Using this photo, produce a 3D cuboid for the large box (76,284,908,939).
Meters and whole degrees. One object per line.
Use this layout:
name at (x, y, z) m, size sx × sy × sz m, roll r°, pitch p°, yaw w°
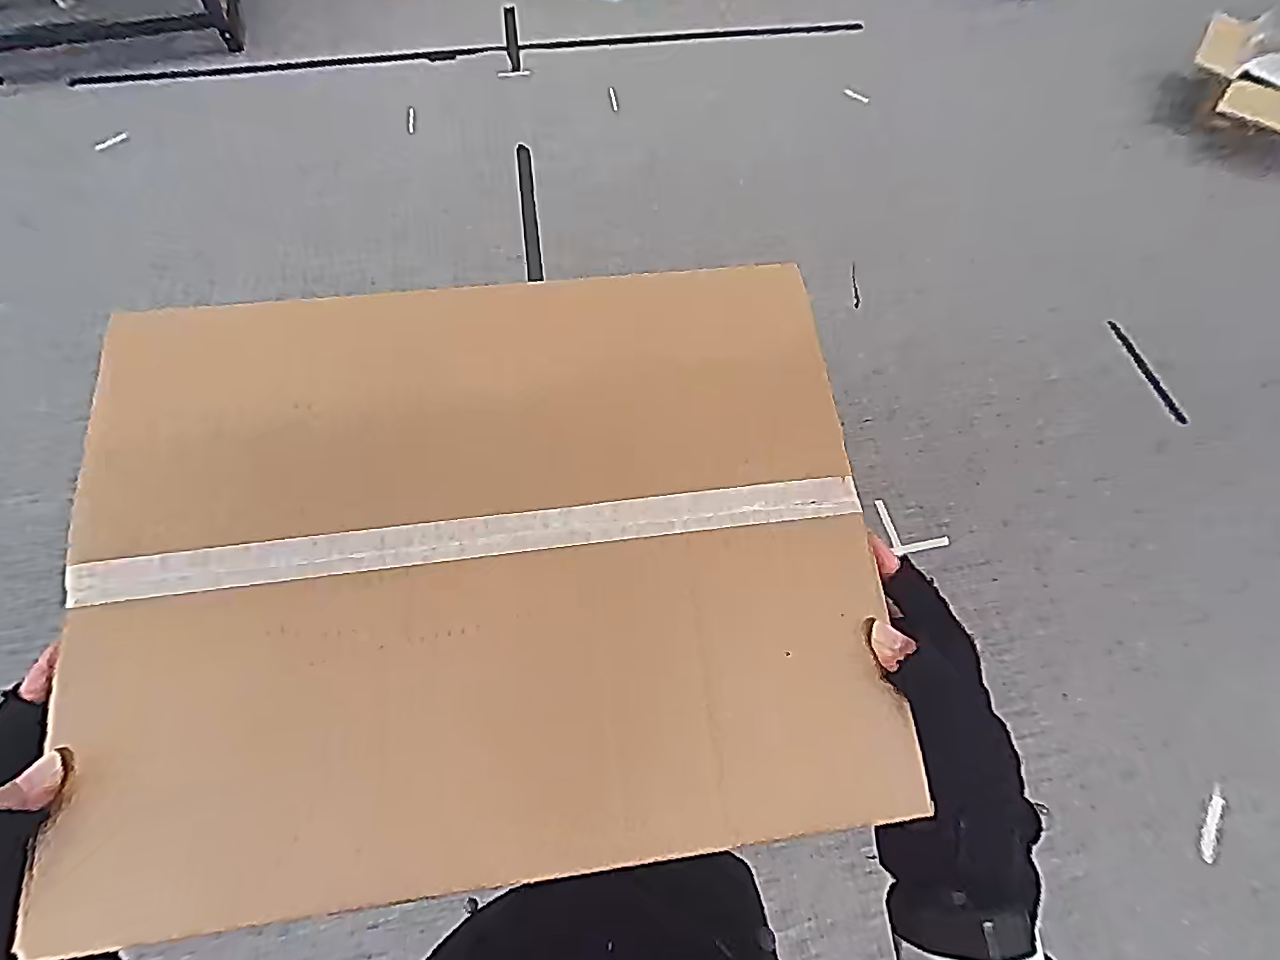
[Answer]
large box at (-0.086, 0.081, 0.442) m, size 0.408 × 0.320 × 0.320 m, roll -6°, pitch 74°, yaw -5°
